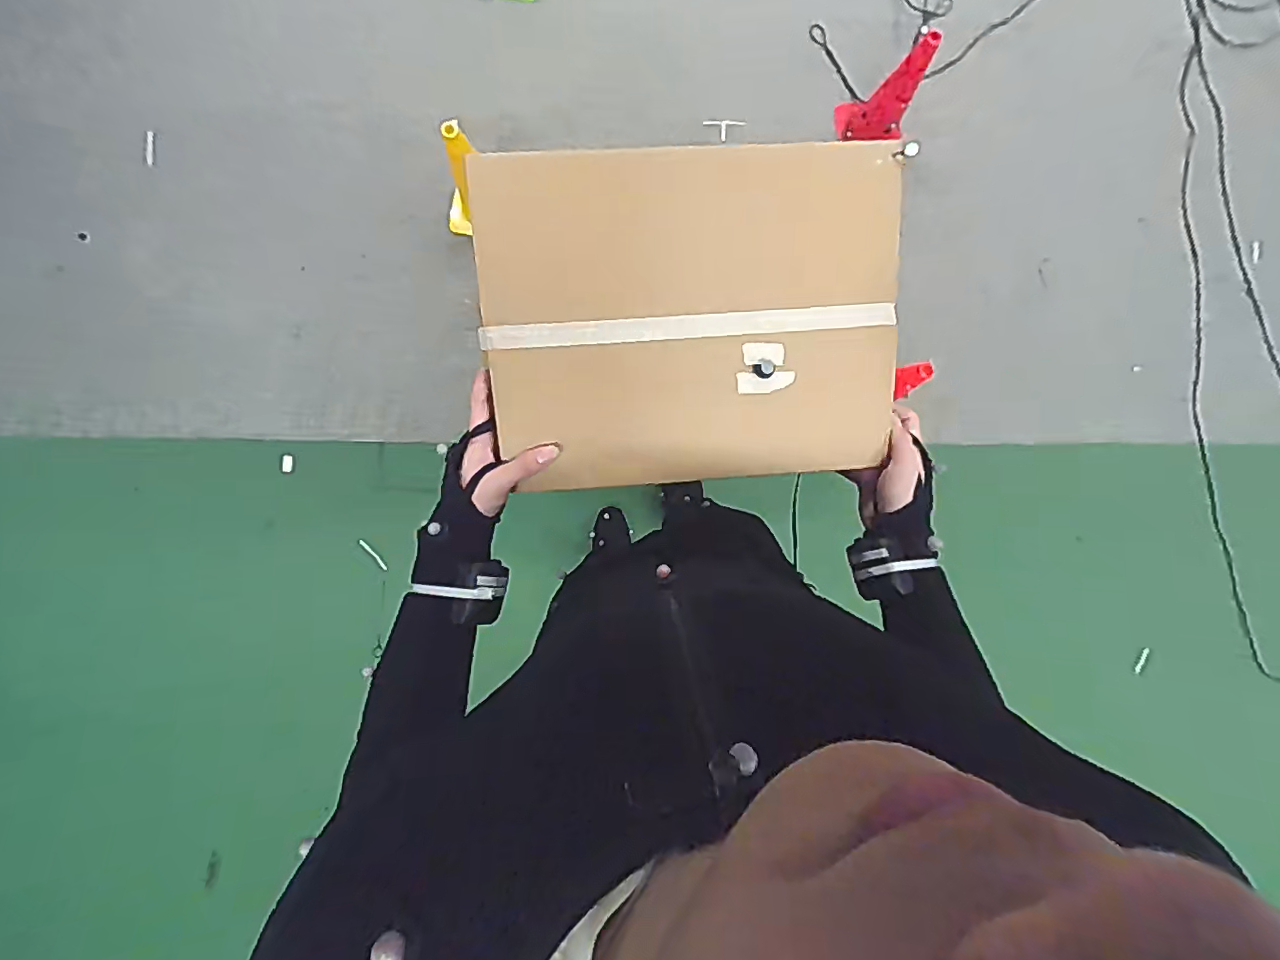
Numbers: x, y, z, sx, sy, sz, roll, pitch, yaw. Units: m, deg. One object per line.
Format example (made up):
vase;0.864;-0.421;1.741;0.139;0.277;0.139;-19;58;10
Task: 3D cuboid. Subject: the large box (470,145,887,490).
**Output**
large box;0.036;-0.186;0.681;0.408;0.320;0.320;-4;103;-5

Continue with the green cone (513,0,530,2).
green cone;-0.415;-1.584;1.495;0.200;0.368;0.202;6;90;-1

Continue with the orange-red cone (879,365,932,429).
orange-red cone;0.693;-0.265;1.501;0.199;0.360;0.198;8;89;-3
